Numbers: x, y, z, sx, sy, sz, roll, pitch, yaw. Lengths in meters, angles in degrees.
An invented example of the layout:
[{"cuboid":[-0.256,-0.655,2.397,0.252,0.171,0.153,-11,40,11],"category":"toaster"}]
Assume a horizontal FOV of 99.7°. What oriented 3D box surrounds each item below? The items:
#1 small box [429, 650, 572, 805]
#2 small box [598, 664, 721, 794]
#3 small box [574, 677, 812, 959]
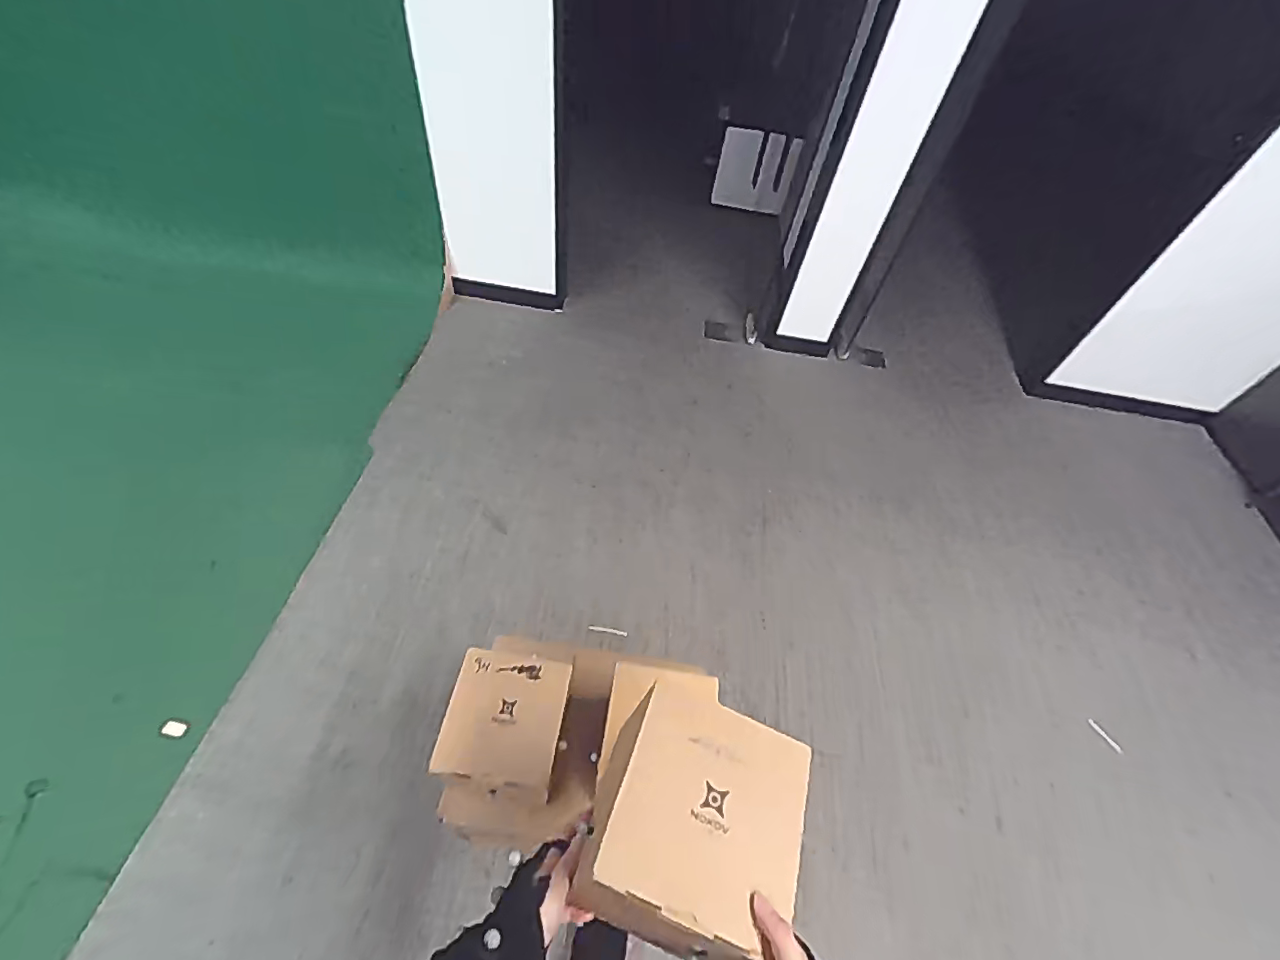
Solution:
[{"cuboid":[-0.203,0.390,0.842,0.168,0.176,0.179,11,53,-1],"category":"small box"},{"cuboid":[0.027,0.417,0.853,0.168,0.176,0.179,9,52,1],"category":"small box"},{"cuboid":[0.045,0.335,0.529,0.168,0.176,0.179,24,46,3],"category":"small box"}]
